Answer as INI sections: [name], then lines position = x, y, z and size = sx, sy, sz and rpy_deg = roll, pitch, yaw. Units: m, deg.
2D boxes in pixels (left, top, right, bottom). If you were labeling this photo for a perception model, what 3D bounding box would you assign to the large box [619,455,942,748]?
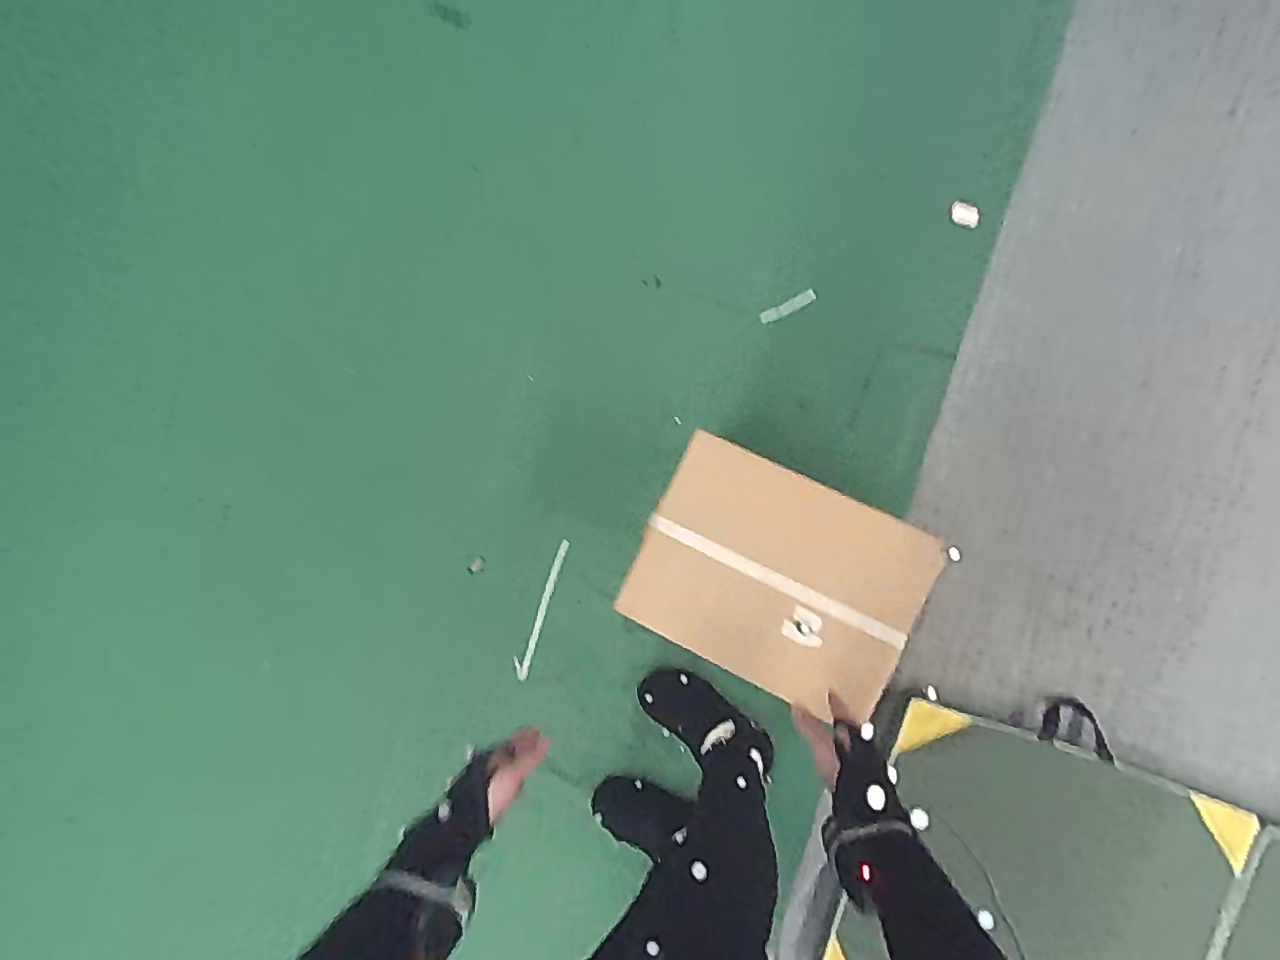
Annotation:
[large box]
position = 0.222, 0.188, 0.967
size = 0.408, 0.320, 0.320
rpy_deg = 26, 90, 9
